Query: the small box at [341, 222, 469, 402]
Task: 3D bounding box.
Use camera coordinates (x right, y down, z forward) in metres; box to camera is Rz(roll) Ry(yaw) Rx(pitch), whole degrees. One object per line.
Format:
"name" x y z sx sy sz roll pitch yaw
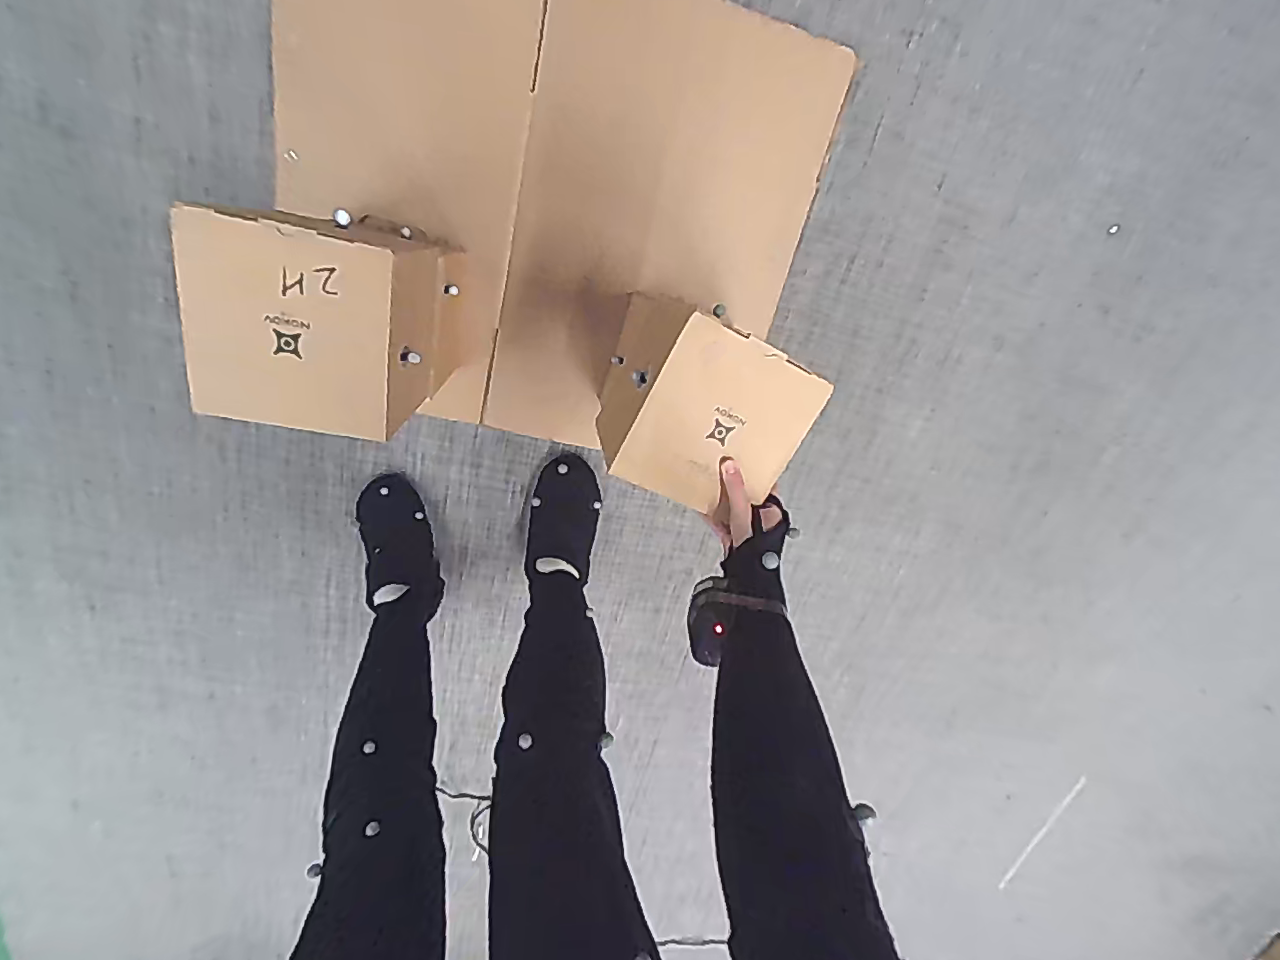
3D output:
"small box" -0.321 -0.217 0.687 0.168 0.176 0.179 9 111 -11

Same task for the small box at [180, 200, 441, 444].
"small box" -0.303 -0.156 0.534 0.168 0.176 0.179 9 112 -12

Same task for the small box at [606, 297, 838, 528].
"small box" 0.071 -0.083 0.593 0.168 0.176 0.179 24 108 -18
